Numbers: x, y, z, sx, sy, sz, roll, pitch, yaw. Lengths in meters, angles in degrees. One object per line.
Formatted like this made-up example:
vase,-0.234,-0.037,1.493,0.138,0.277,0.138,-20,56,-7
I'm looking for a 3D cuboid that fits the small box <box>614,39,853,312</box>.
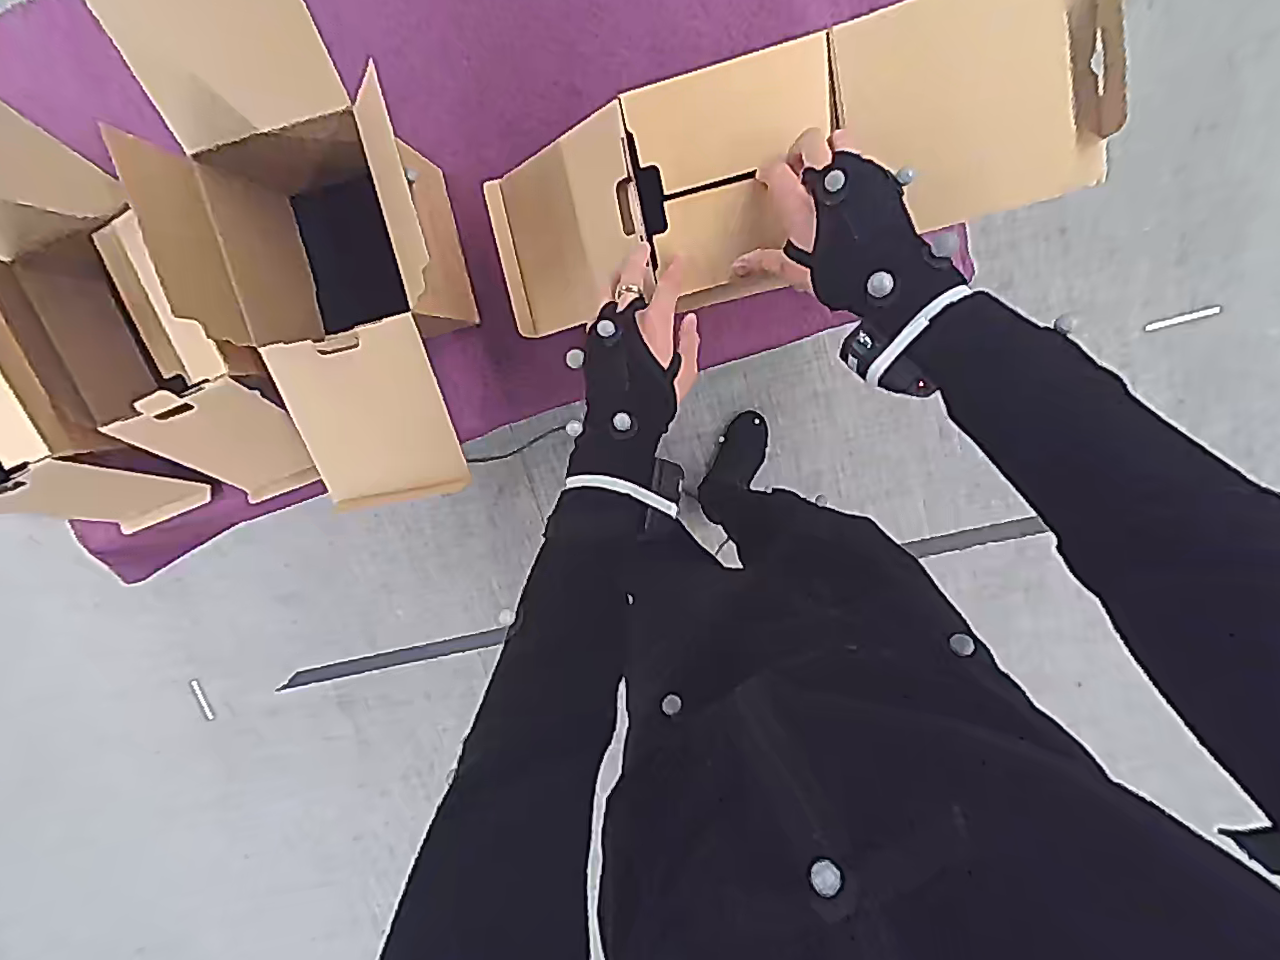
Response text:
small box,0.086,-0.266,0.521,0.179,0.176,0.168,-10,101,9
